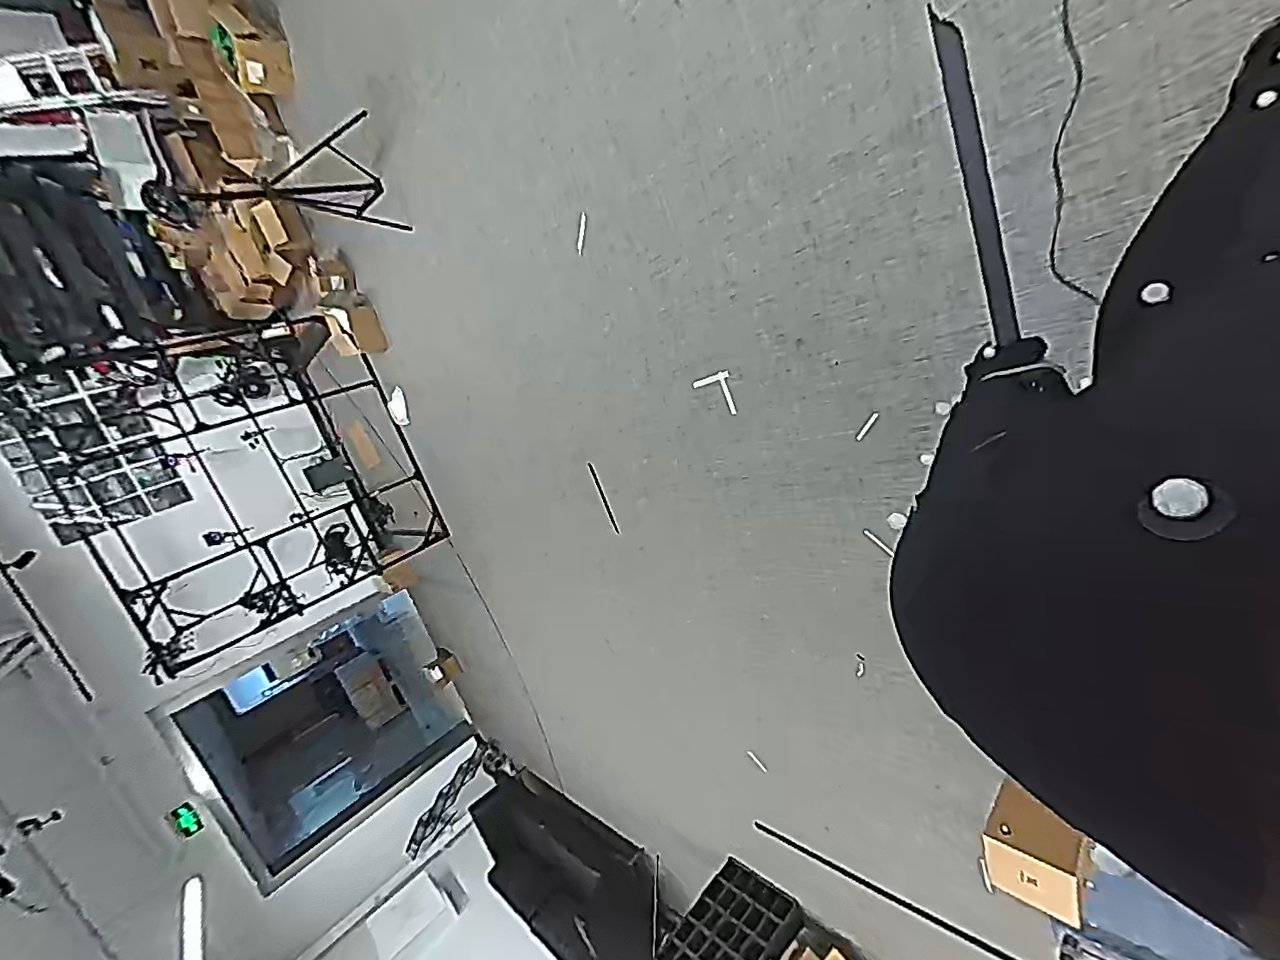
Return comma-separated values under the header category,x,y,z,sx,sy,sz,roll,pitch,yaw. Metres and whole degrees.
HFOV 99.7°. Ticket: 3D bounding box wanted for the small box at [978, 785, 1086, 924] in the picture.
category,x,y,z,sx,sy,sz,roll,pitch,yaw
small box,0.925,0.865,1.270,0.179,0.176,0.168,4,117,49
